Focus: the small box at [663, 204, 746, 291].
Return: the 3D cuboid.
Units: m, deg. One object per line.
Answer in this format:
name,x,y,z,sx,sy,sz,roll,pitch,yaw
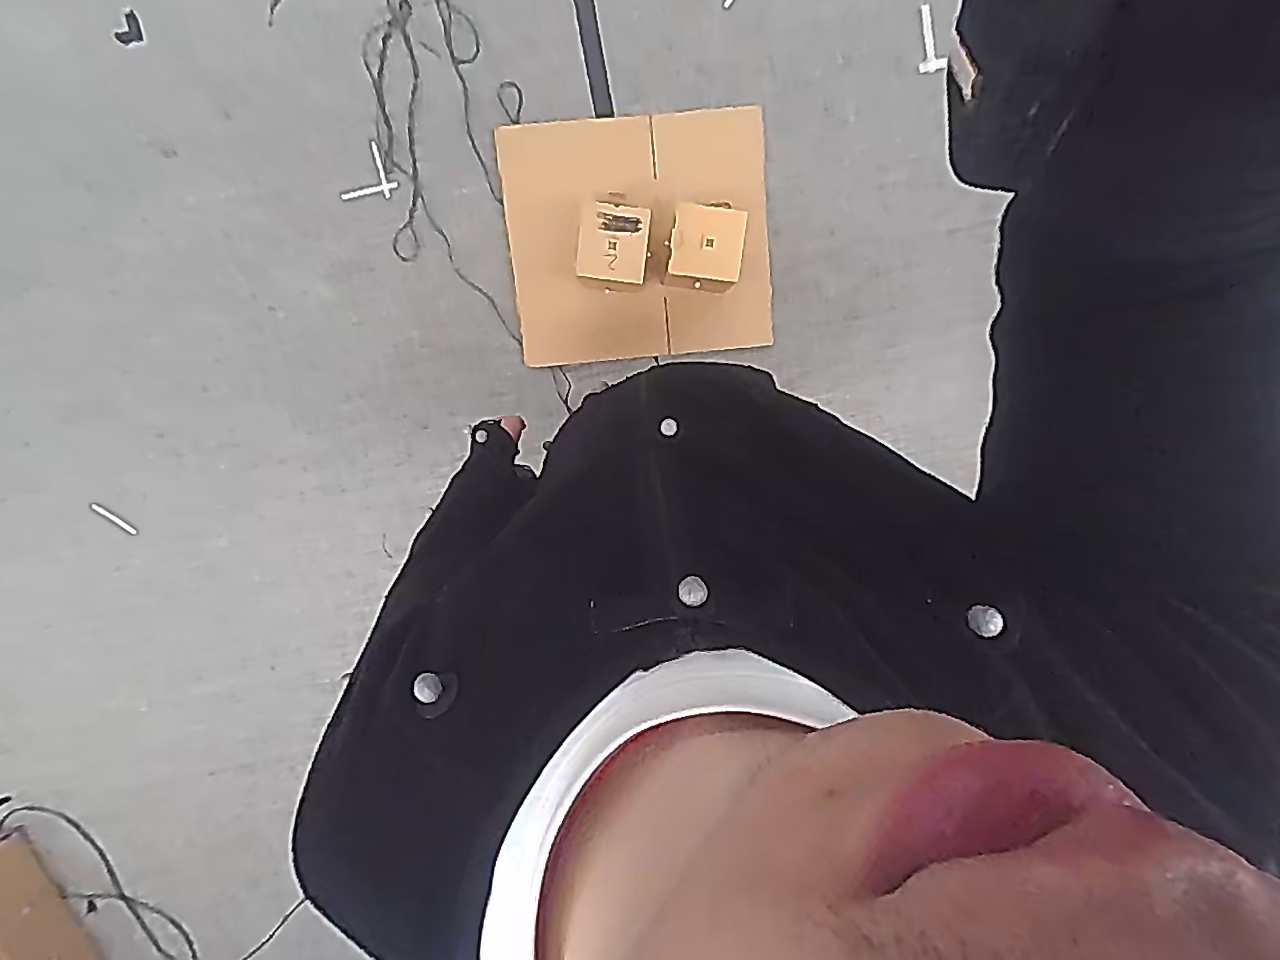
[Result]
small box,0.160,-0.593,1.398,0.179,0.176,0.168,7,100,-3
